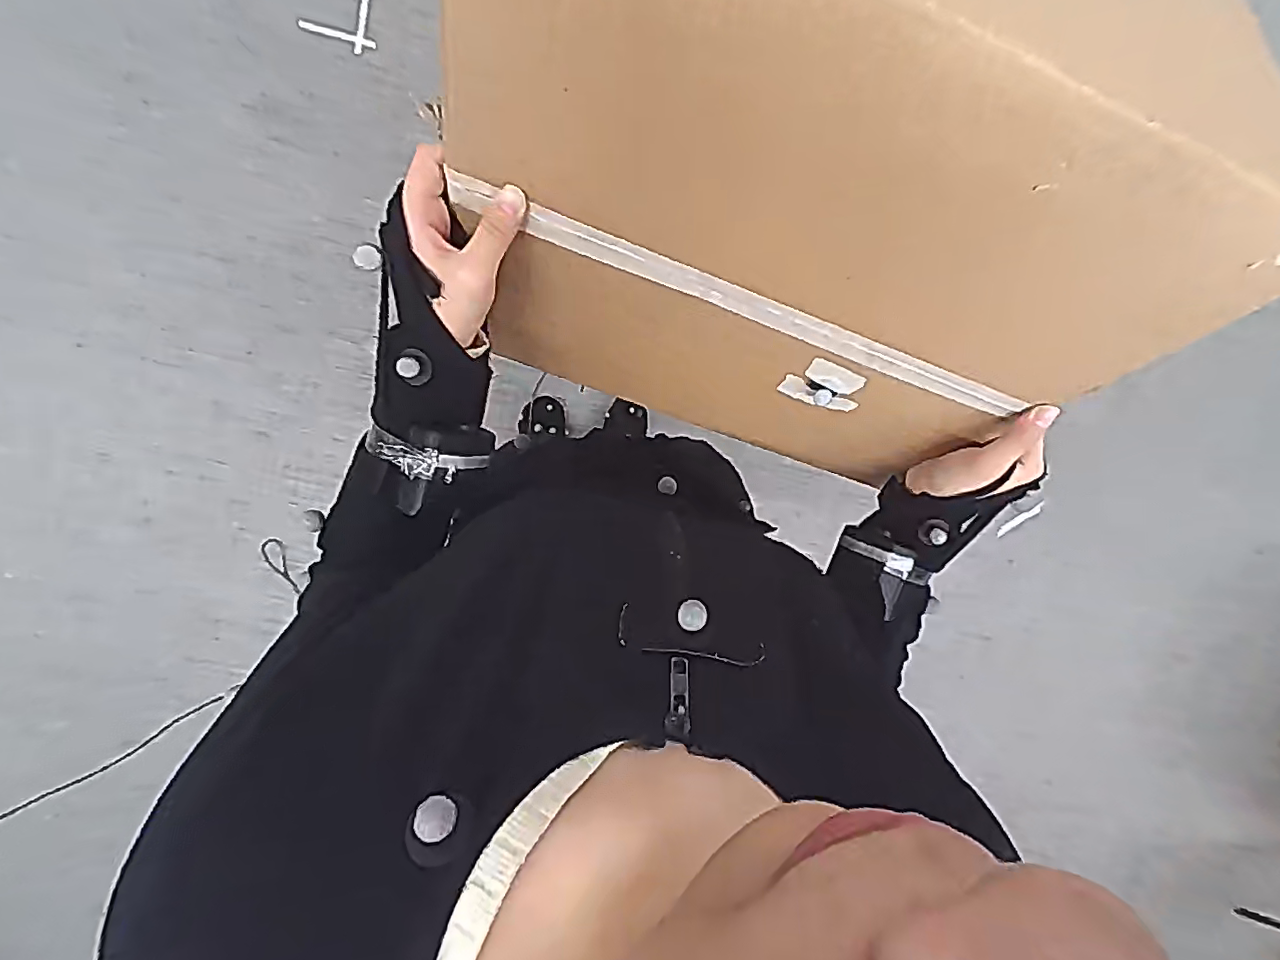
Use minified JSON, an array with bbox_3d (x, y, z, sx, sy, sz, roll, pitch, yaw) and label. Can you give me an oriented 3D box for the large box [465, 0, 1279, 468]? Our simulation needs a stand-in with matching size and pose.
[{"bbox_3d":[0.124,-0.252,0.377,0.408,0.320,0.320,17,67,-10],"label":"large box"}]
